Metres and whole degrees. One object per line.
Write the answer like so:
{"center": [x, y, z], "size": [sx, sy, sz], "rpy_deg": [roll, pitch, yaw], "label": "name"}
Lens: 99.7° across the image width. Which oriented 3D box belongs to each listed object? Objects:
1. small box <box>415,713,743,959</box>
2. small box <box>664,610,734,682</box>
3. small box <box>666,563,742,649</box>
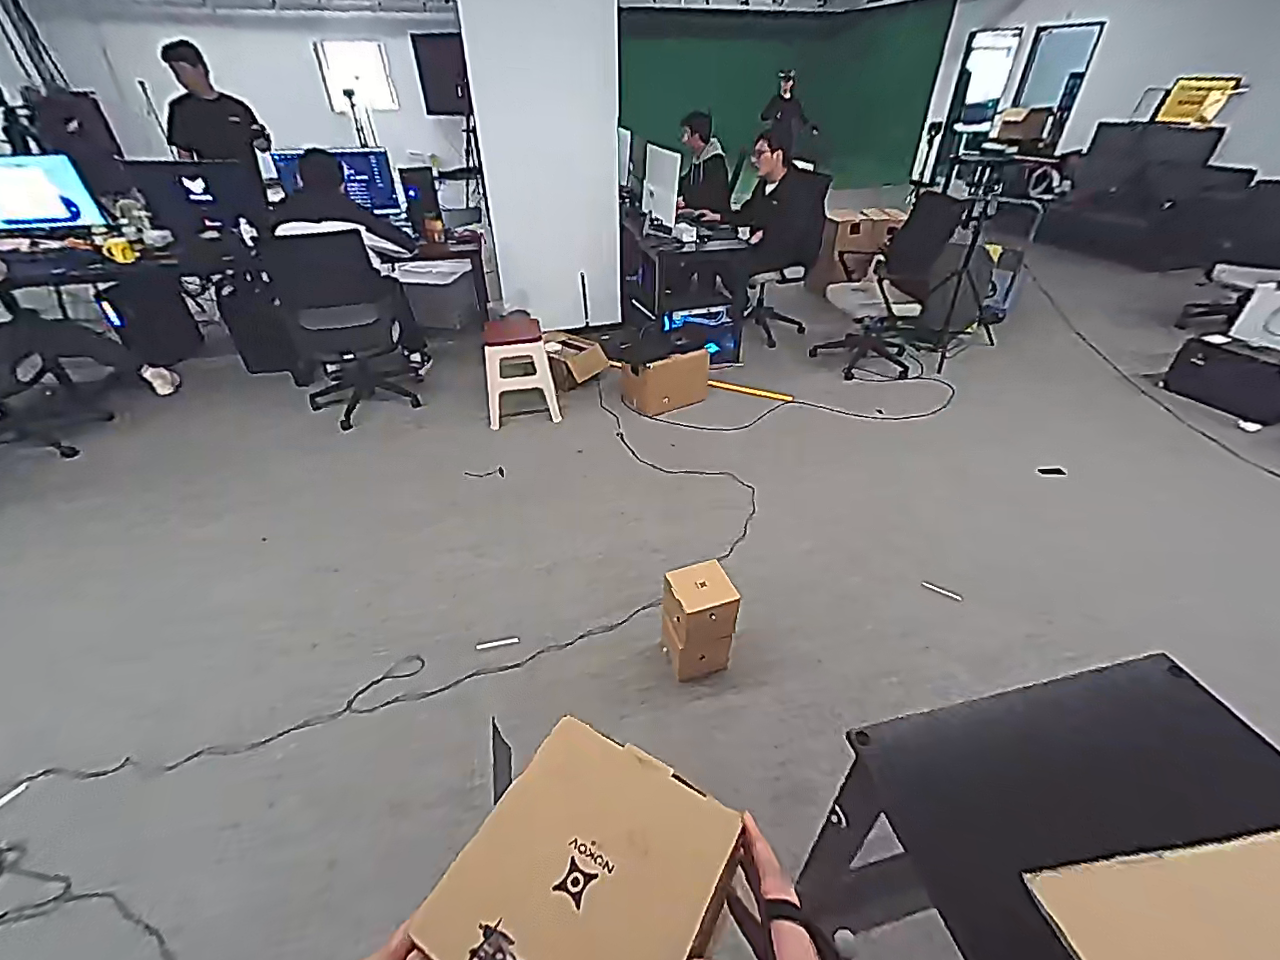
{"center": [-0.033, 0.331, 0.420], "size": [0.168, 0.176, 0.179], "rpy_deg": [16, 39, 28], "label": "small box"}
{"center": [0.183, 0.516, 1.734], "size": [0.179, 0.176, 0.168], "rpy_deg": [-11, 38, -13], "label": "small box"}
{"center": [0.188, 0.383, 1.641], "size": [0.179, 0.176, 0.168], "rpy_deg": [-12, 39, -17], "label": "small box"}
